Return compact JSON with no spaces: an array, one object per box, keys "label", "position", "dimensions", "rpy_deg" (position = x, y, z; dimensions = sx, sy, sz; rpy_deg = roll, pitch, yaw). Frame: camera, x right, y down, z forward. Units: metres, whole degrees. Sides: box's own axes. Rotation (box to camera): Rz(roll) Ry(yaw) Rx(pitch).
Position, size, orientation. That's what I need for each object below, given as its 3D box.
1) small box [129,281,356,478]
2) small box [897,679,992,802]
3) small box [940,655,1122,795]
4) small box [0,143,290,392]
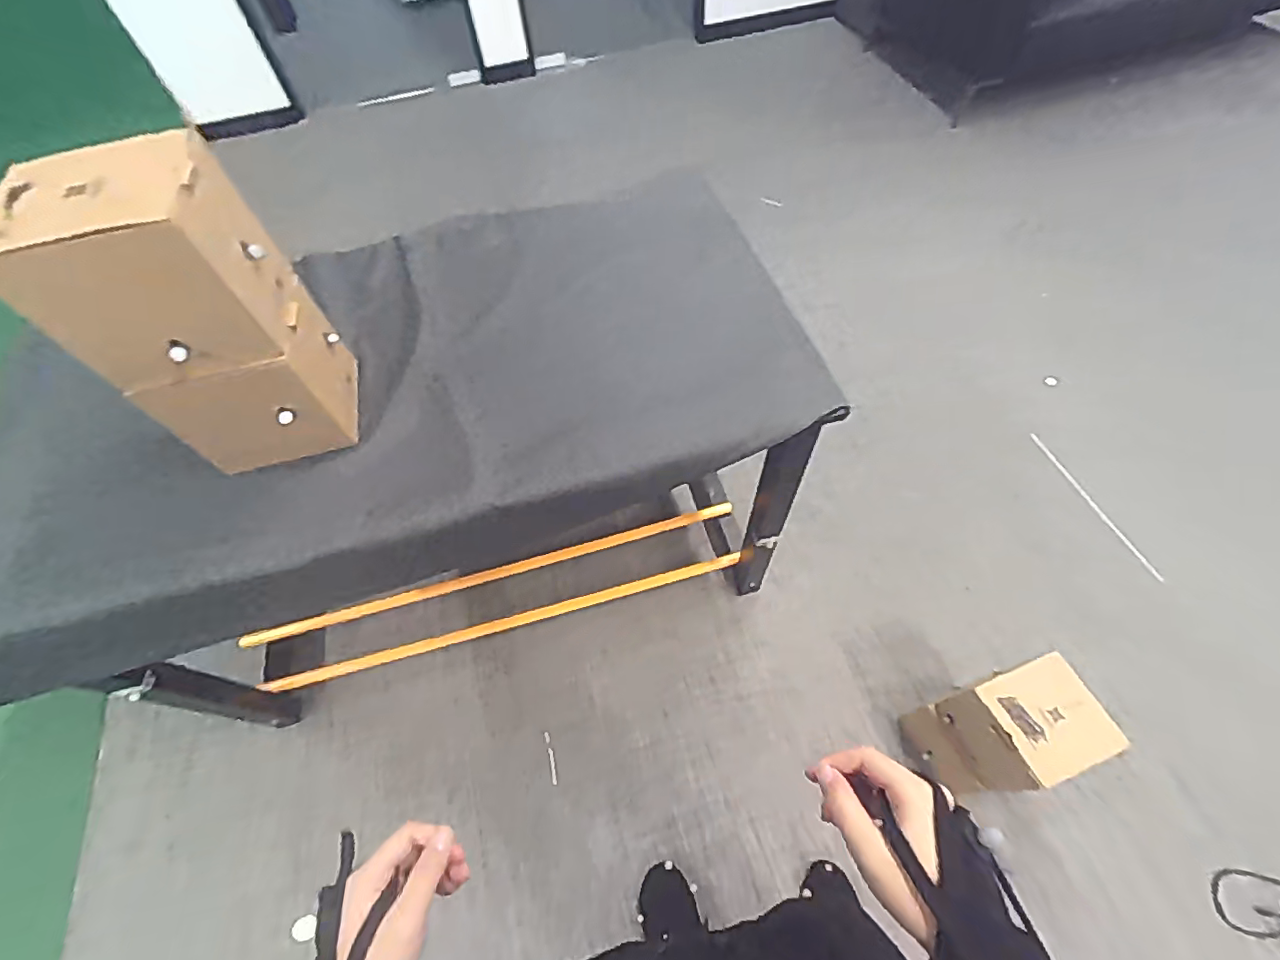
[{"label":"small box","position":[-0.498,-0.128,0.714],"dimensions":[0.179,0.176,0.168],"rpy_deg":[-15,57,-6]},{"label":"small box","position":[0.666,0.532,1.099],"dimensions":[0.179,0.176,0.168],"rpy_deg":[-21,59,-10]},{"label":"small box","position":[0.671,0.441,0.962],"dimensions":[0.179,0.176,0.168],"rpy_deg":[-19,59,-10]},{"label":"small box","position":[-0.509,-0.222,0.579],"dimensions":[0.179,0.176,0.168],"rpy_deg":[-16,58,-8]}]
